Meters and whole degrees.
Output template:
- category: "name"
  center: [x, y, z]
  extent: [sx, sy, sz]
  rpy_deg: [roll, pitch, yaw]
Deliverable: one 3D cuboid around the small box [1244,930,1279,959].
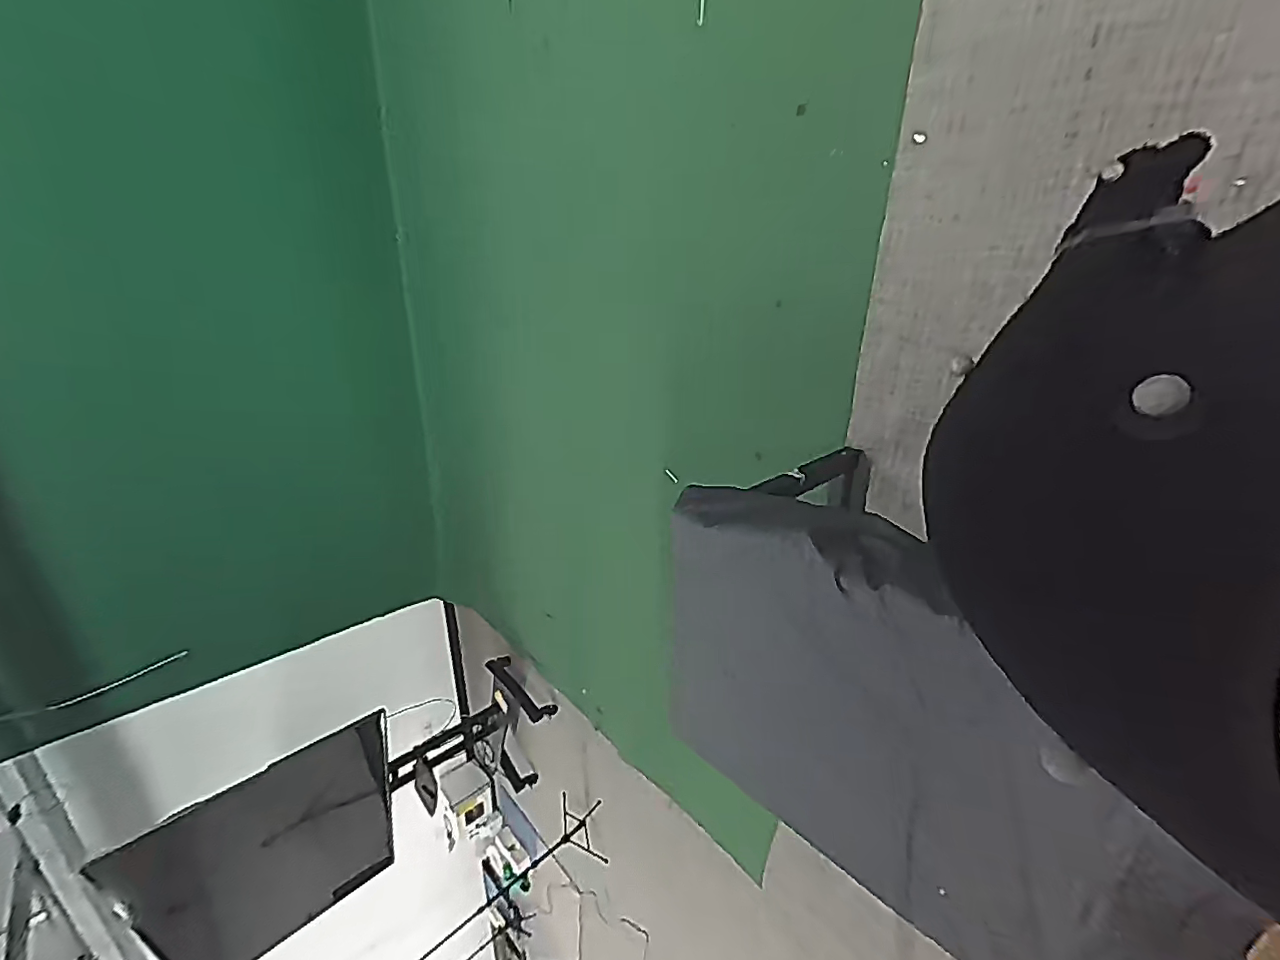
- category: "small box"
  center: [0.681, 0.598, 0.513]
  extent: [0.168, 0.176, 0.179]
  rpy_deg: [20, 117, 44]
